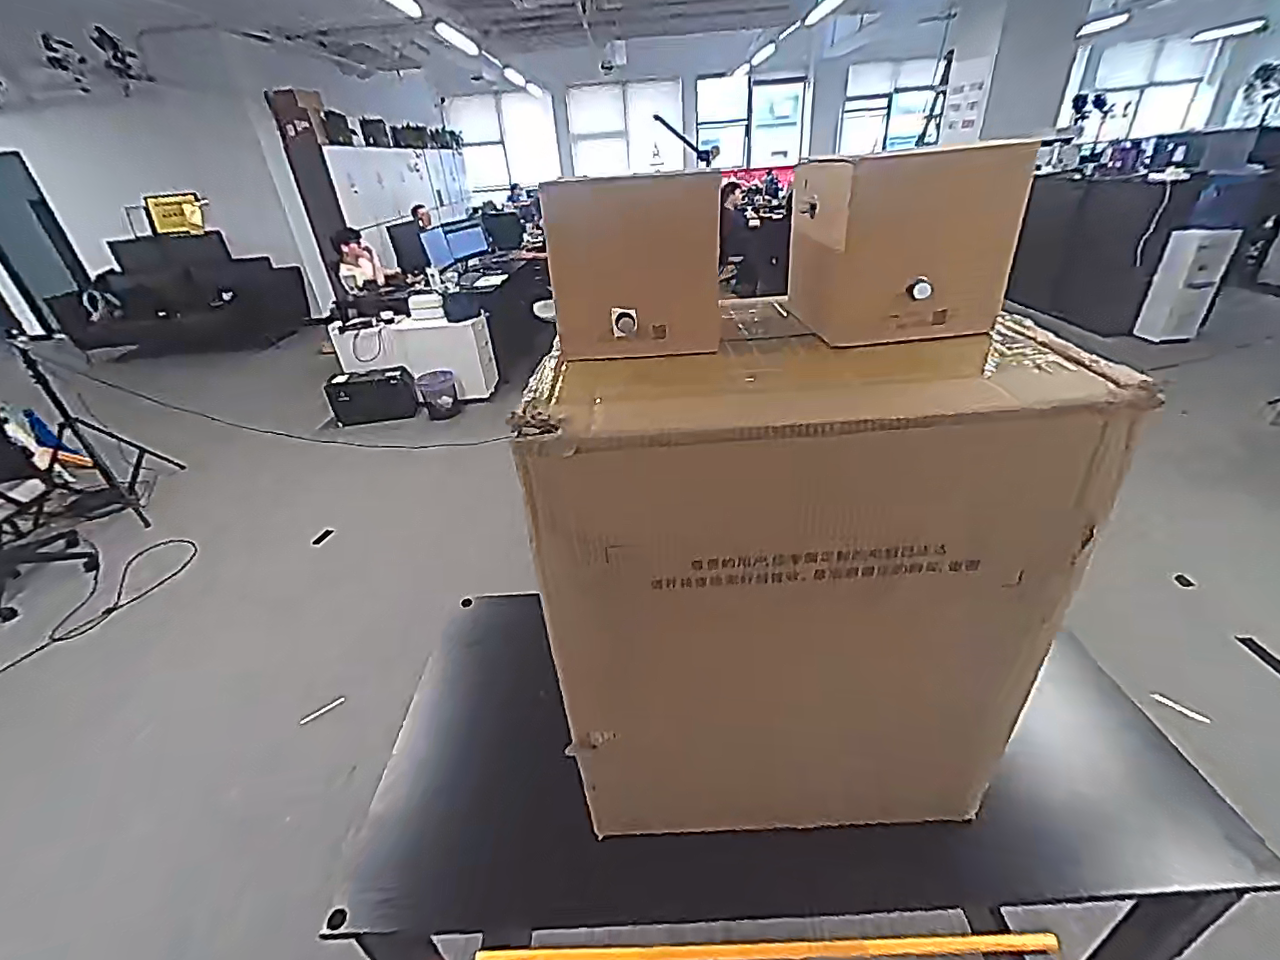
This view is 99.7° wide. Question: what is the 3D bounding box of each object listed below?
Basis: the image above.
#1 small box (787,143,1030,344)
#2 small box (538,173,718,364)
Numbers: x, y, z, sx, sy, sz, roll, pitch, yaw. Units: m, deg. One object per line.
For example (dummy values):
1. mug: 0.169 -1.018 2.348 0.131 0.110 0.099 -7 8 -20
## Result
1. small box: 0.262 -0.253 0.581 0.168 0.176 0.179 -6 30 1
2. small box: -0.010 -0.236 0.597 0.168 0.176 0.179 -5 31 0
